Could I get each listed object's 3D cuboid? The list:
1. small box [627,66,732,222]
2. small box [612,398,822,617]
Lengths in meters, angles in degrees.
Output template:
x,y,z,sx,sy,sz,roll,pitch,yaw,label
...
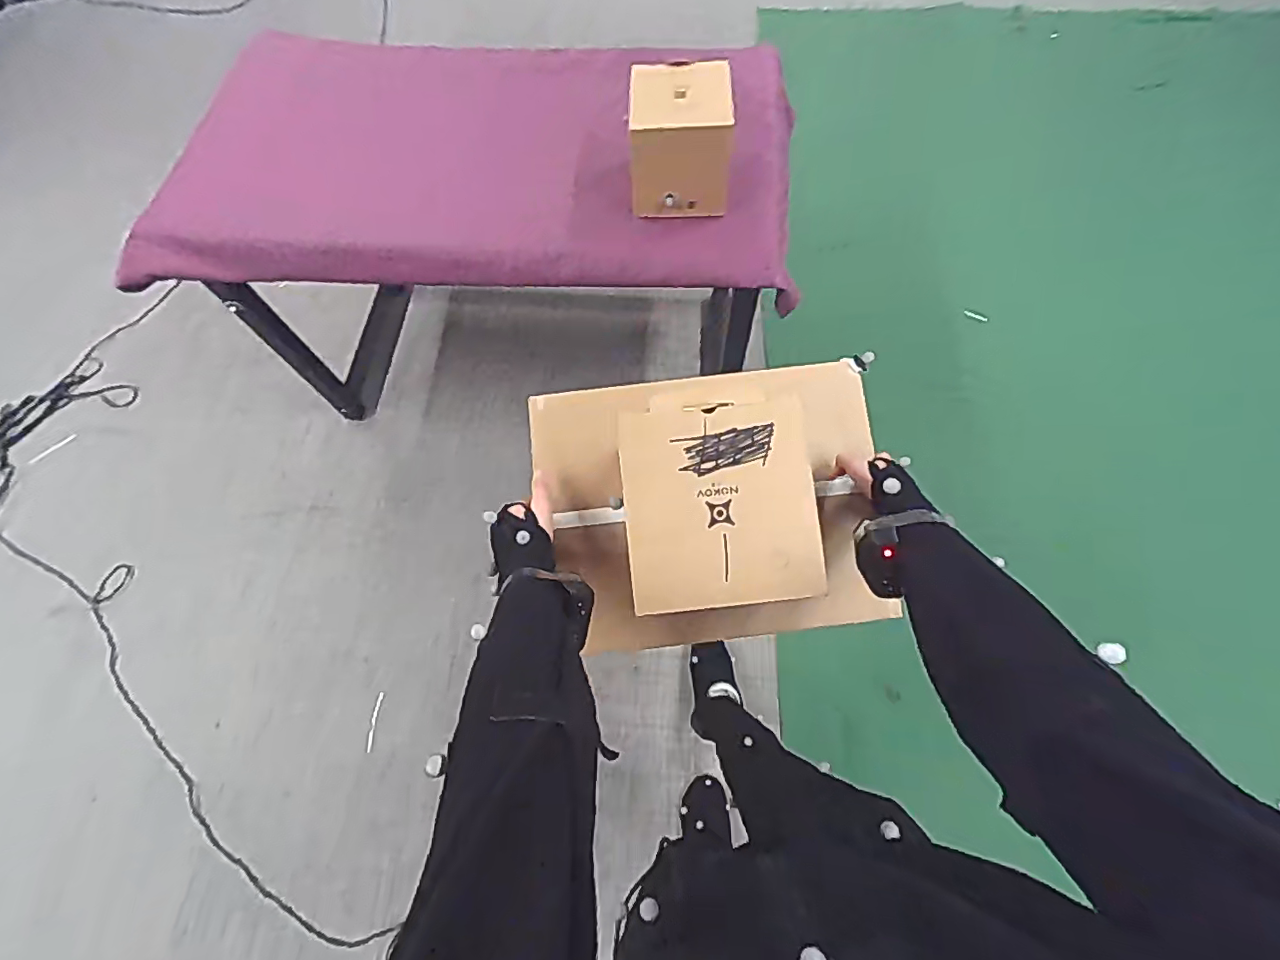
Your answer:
x,y,z,sx,sy,sz,roll,pitch,yaw,label
0.068,-0.582,0.946,0.168,0.176,0.179,0,65,4,small box
0.062,0.031,0.537,0.168,0.176,0.179,-6,83,-1,small box
